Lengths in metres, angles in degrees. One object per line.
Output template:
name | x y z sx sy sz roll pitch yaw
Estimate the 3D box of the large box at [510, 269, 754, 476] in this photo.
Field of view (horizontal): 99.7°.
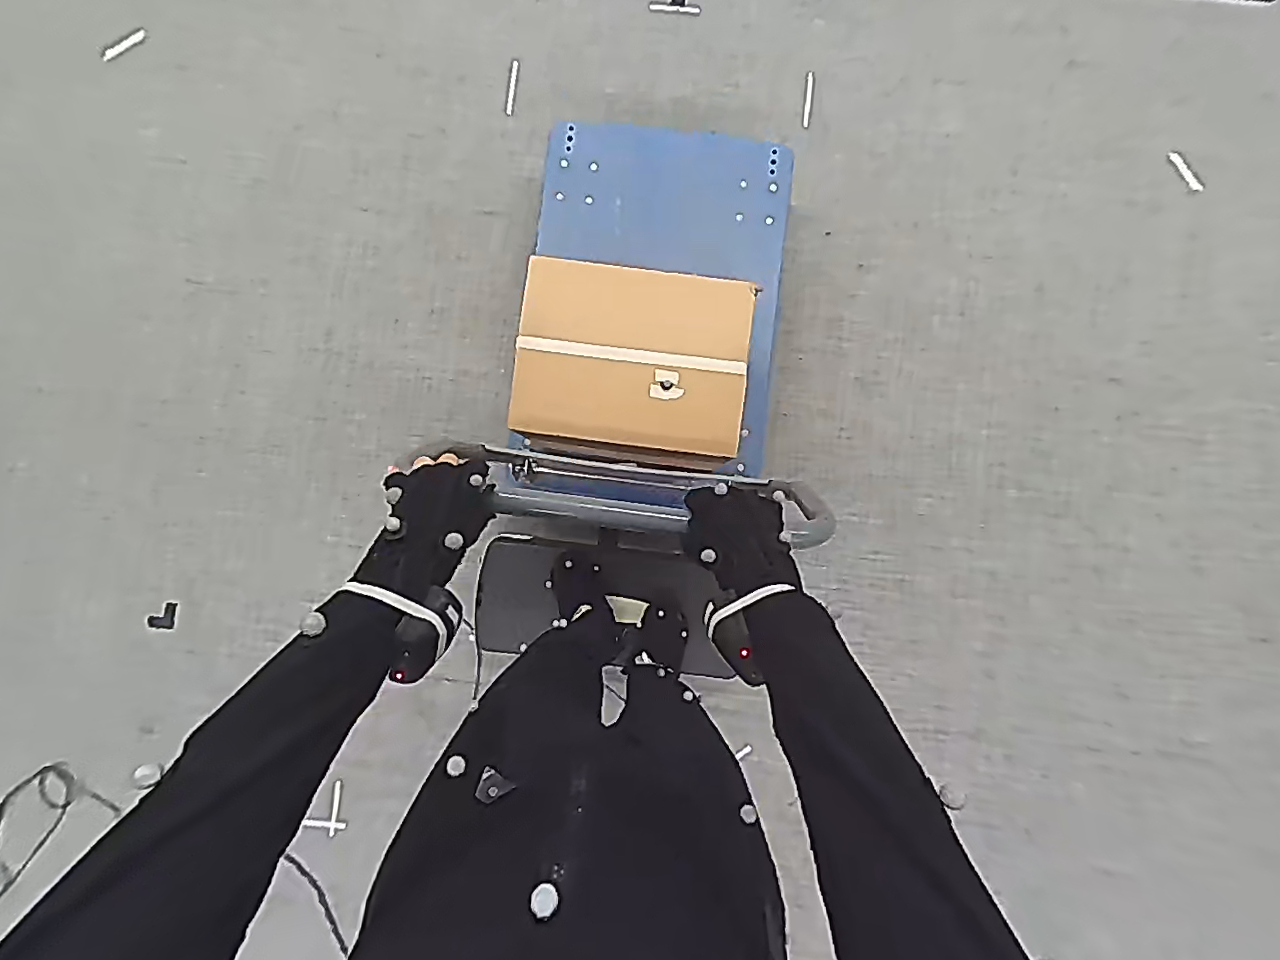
large box | -0.015 -0.190 1.086 0.408 0.320 0.320 7 88 0
